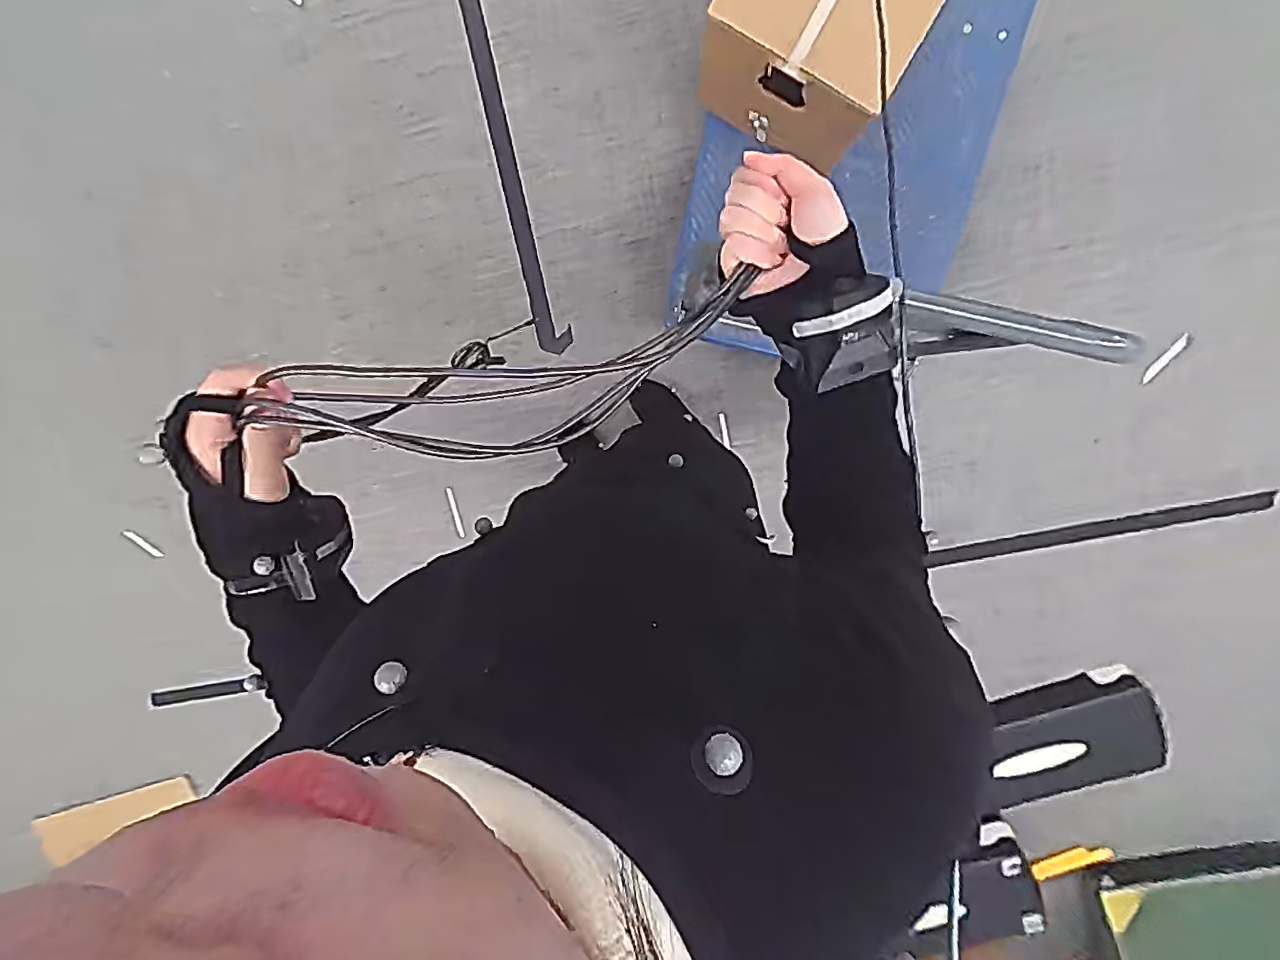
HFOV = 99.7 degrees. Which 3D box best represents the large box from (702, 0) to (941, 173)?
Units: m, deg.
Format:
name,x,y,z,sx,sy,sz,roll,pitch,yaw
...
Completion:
name,x,y,z,sx,sy,sz,roll,pitch,yaw
large box,0.335,-0.844,0.938,0.320,0.320,0.408,29,103,-4
